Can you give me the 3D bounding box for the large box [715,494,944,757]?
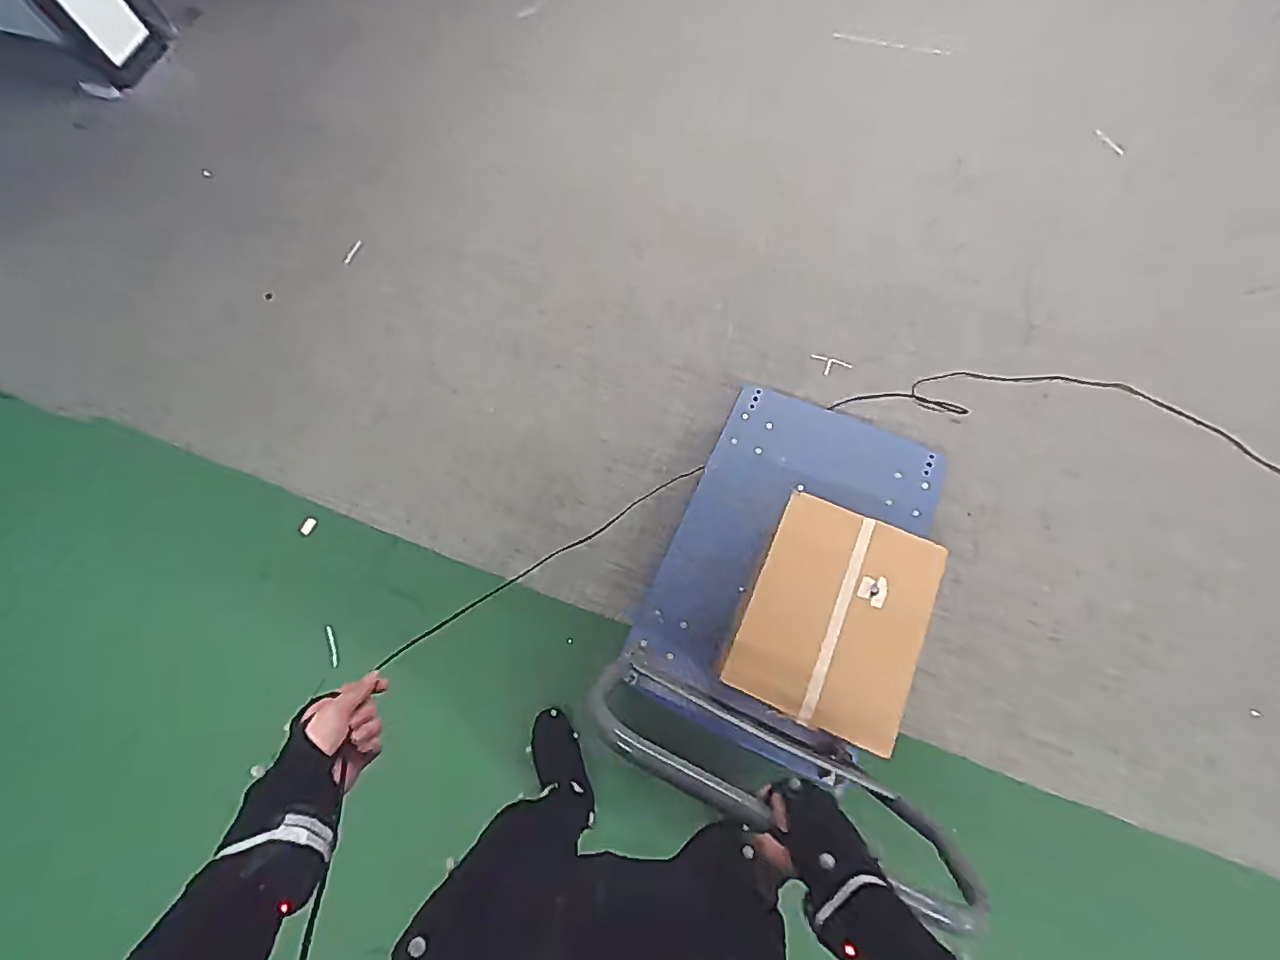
[{"bbox_3d":[0.378,0.307,1.148,0.320,0.320,0.408,23,72,10],"label":"large box"}]
